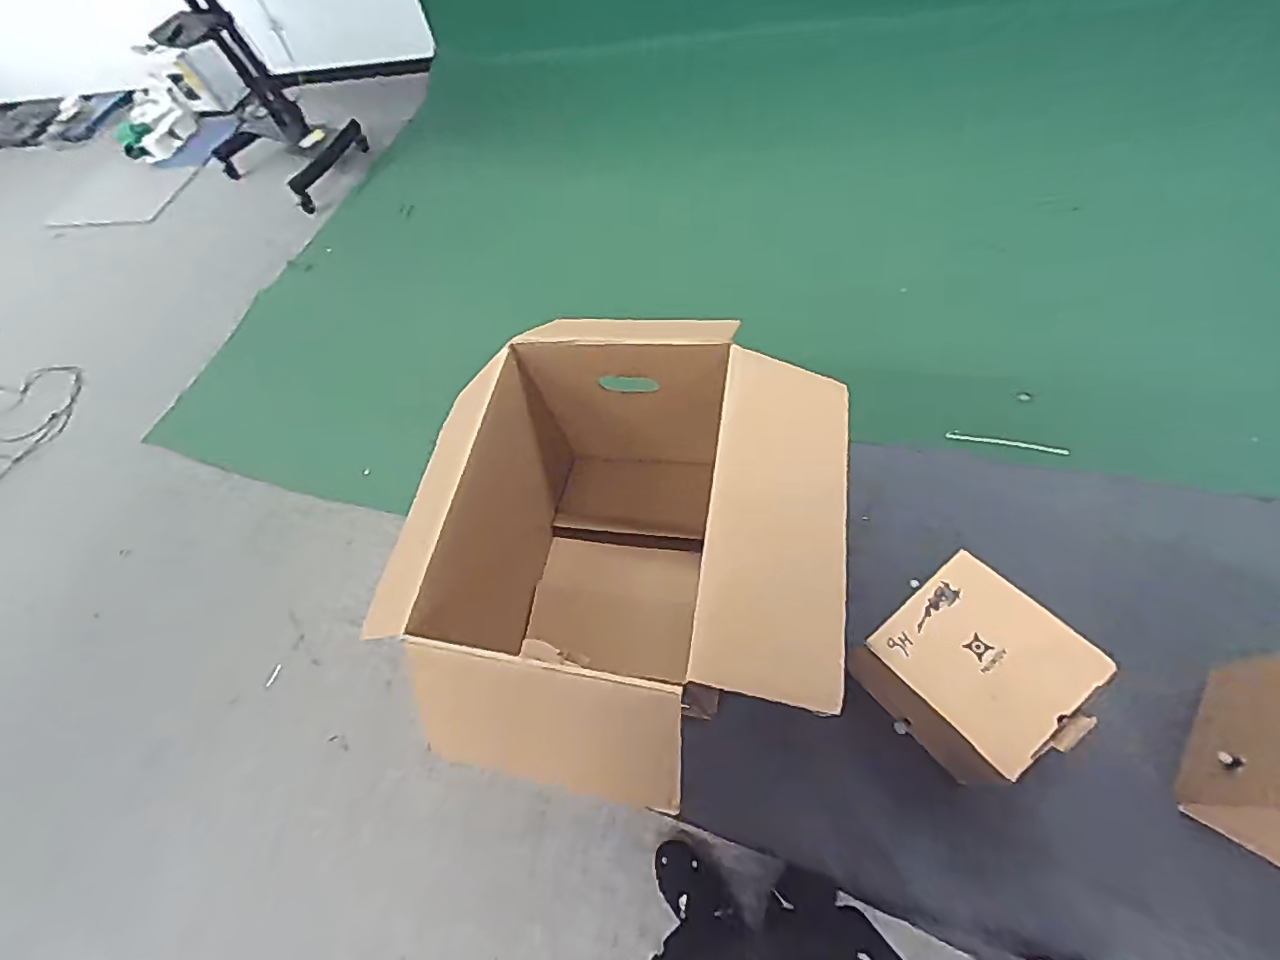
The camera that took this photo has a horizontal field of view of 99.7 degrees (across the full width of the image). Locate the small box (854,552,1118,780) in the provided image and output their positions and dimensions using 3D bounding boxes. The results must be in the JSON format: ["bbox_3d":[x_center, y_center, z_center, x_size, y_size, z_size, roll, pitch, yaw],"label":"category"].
[{"bbox_3d":[0.383,0.221,0.639,0.168,0.176,0.179,-38,60,-9],"label":"small box"}]

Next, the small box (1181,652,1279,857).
[{"bbox_3d":[0.686,0.289,0.521,0.168,0.176,0.179,28,71,25],"label":"small box"}]
